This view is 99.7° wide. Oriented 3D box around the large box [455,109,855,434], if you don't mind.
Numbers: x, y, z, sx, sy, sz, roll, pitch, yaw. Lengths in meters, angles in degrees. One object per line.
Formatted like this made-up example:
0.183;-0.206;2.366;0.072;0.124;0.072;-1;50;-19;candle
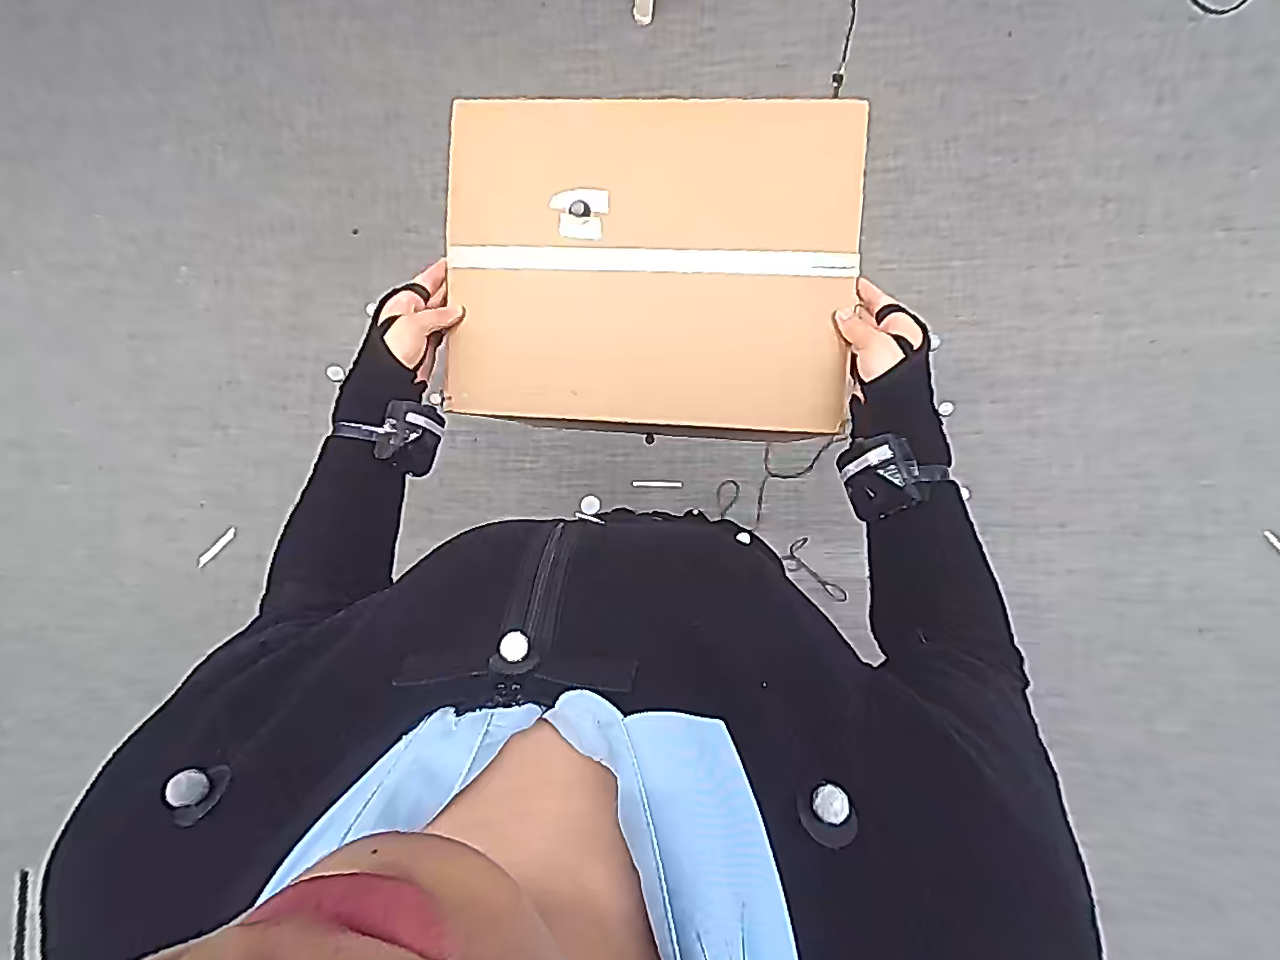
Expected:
0.023;-0.220;0.694;0.408;0.320;0.320;3;92;6;large box
